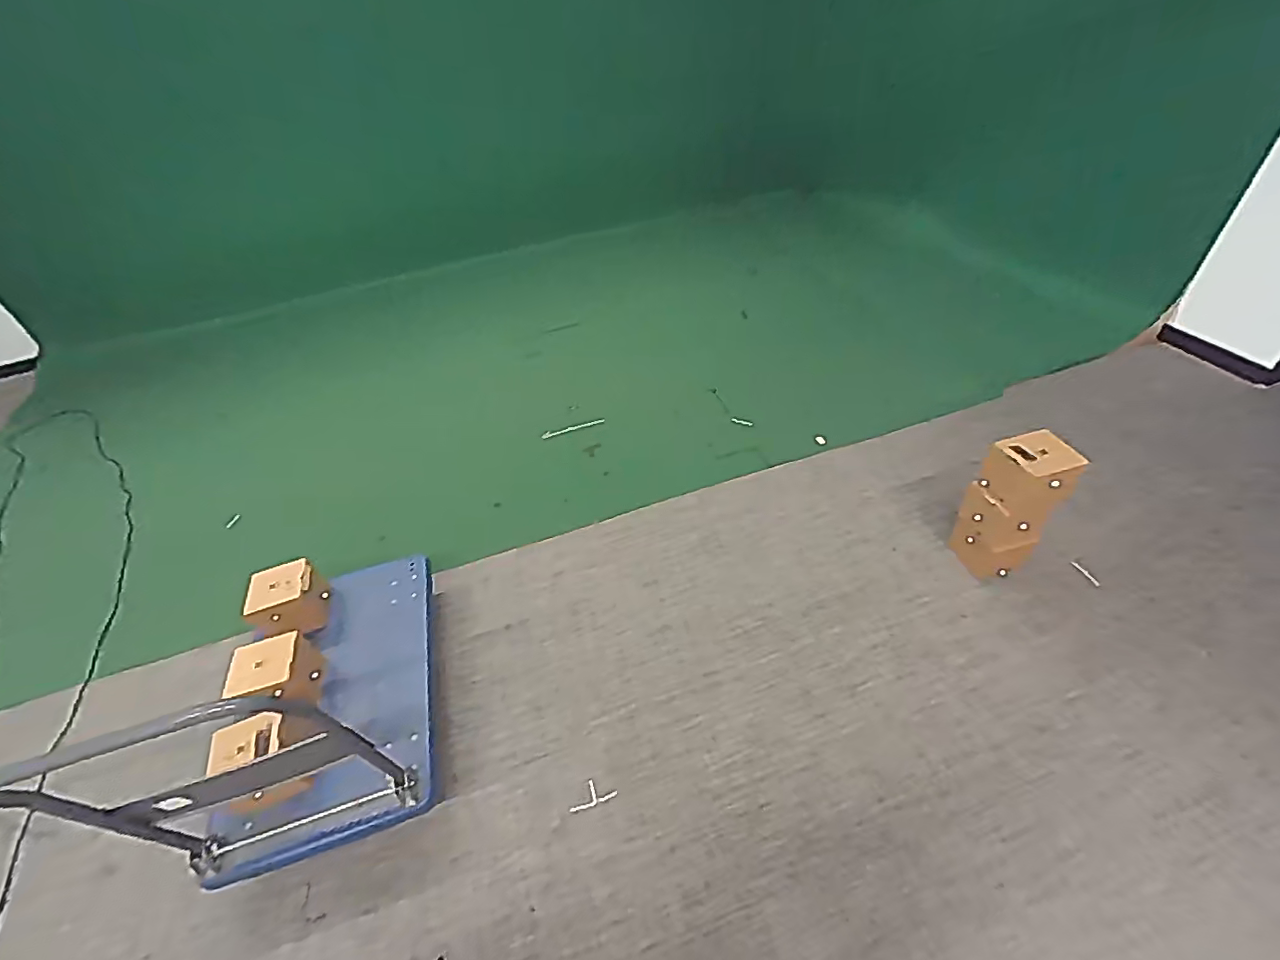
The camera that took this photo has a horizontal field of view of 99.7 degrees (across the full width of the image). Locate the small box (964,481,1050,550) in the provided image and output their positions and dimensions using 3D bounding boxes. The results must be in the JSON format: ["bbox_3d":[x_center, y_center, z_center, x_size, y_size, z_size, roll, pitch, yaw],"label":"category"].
[{"bbox_3d":[1.176,0.100,1.737,0.179,0.176,0.168,-15,44,-3],"label":"small box"}]

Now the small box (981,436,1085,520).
[{"bbox_3d":[1.168,-0.001,1.629,0.179,0.176,0.168,-15,44,-5],"label":"small box"}]

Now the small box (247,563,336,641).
[{"bbox_3d":[-1.138,0.409,1.778,0.179,0.176,0.168,-17,46,-8],"label":"small box"}]

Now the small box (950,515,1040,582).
[{"bbox_3d":[1.201,0.219,1.846,0.168,0.176,0.179,-14,44,-4],"label":"small box"}]

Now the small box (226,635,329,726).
[{"bbox_3d":[-1.051,0.590,1.583,0.179,0.176,0.168,-16,44,-8],"label":"small box"}]
